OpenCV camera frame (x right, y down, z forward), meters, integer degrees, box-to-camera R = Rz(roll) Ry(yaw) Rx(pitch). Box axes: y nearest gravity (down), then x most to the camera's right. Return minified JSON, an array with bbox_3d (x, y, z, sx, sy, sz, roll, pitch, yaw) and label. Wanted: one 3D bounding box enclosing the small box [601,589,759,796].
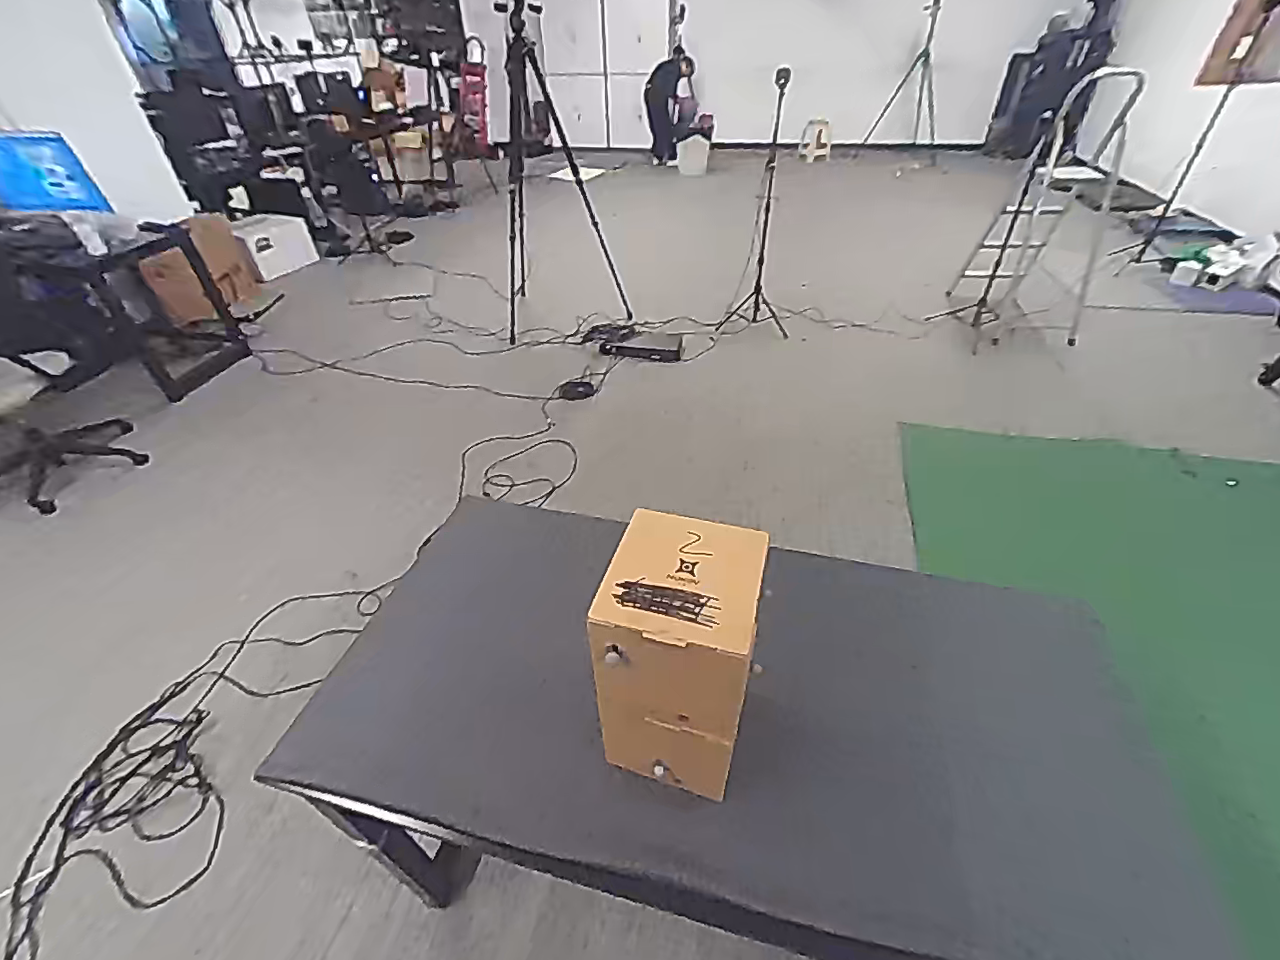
[{"bbox_3d":[0.057,0.284,0.733,0.168,0.176,0.179,11,41,16],"label":"small box"}]
